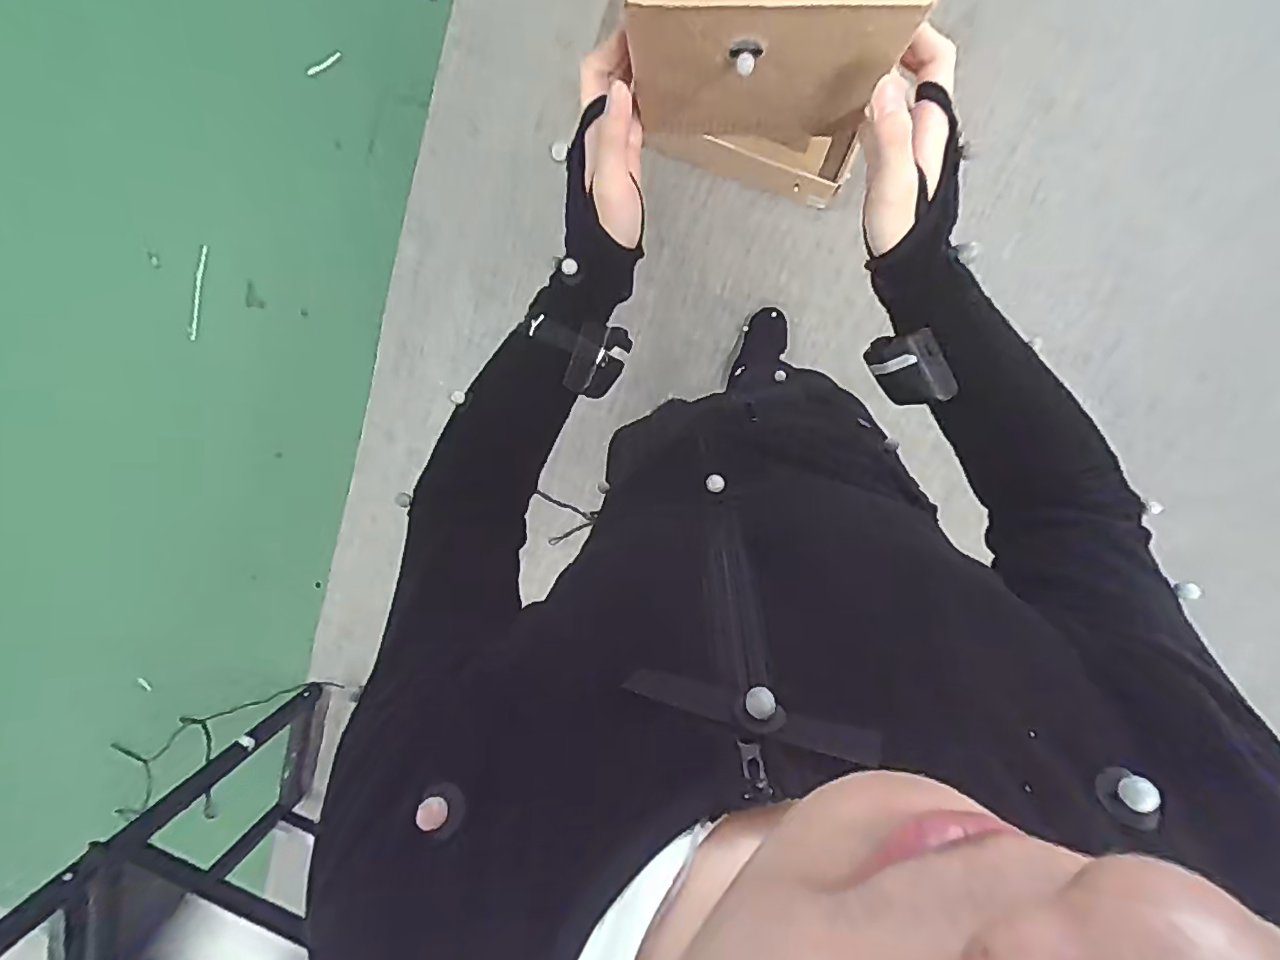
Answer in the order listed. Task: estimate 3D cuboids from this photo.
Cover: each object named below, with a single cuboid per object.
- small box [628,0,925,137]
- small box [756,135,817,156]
[{"bbox_3d":[0.088,-0.361,0.371,0.179,0.176,0.168,3,100,3],"label":"small box"},{"bbox_3d":[0.357,-0.888,1.247,0.168,0.176,0.179,25,105,4],"label":"small box"}]
